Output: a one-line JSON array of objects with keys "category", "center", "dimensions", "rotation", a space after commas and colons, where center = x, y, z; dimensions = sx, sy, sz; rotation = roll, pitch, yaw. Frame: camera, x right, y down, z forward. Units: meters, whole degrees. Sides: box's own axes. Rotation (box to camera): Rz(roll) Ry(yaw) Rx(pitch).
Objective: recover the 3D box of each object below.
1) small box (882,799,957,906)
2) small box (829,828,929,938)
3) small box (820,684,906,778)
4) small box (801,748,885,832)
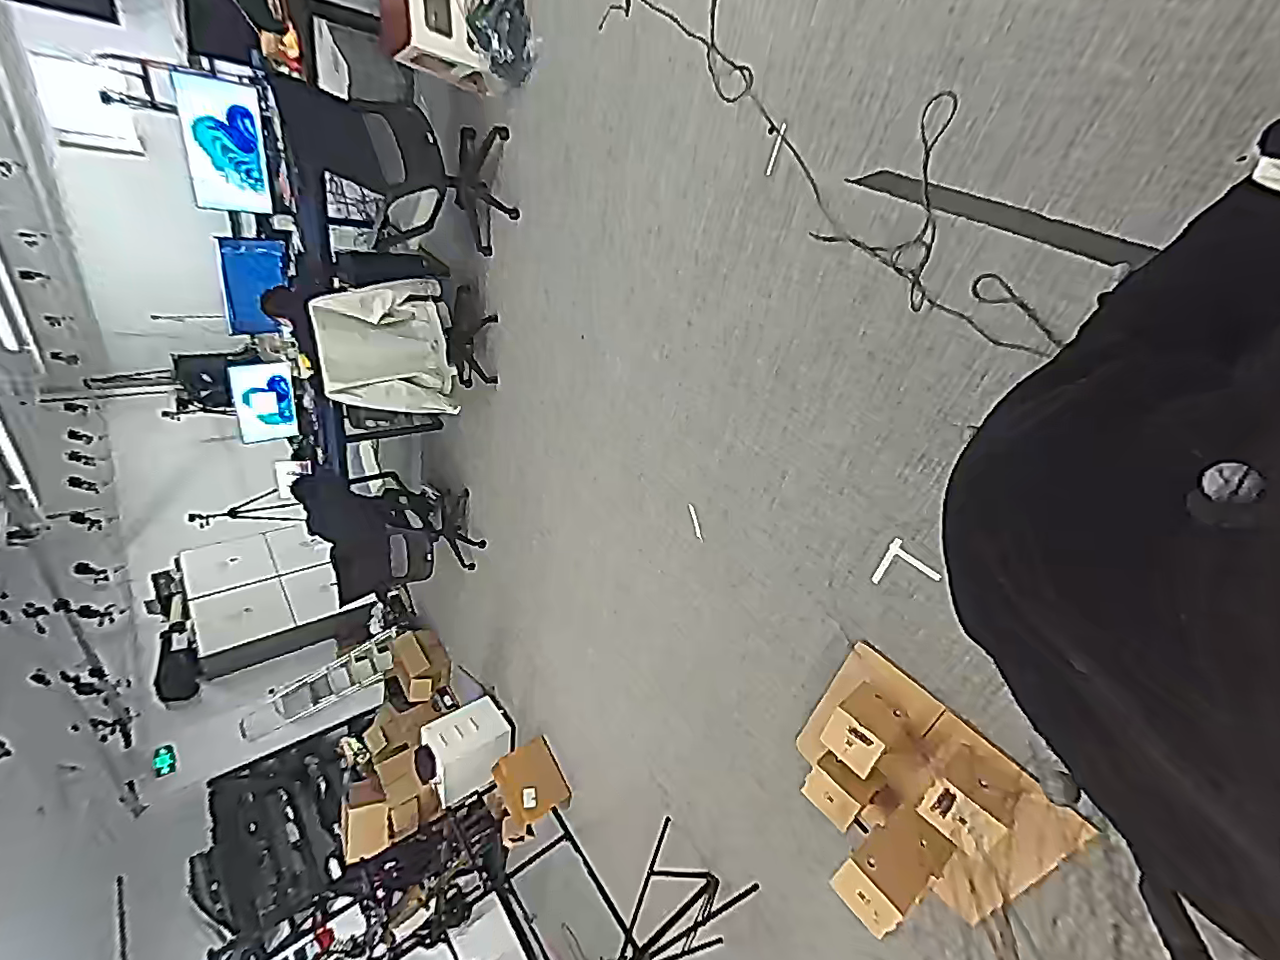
[{"category": "small box", "center": [0.831, 1.134, 1.658], "dimensions": [0.179, 0.176, 0.168], "rotation": [35, 127, 37]}, {"category": "small box", "center": [0.692, 1.156, 1.569], "dimensions": [0.179, 0.176, 0.168], "rotation": [40, 131, 35]}, {"category": "small box", "center": [0.704, 0.777, 1.694], "dimensions": [0.168, 0.176, 0.179], "rotation": [37, 128, 37]}, {"category": "small box", "center": [0.679, 1.012, 1.807], "dimensions": [0.179, 0.176, 0.168], "rotation": [35, 128, 37]}]
